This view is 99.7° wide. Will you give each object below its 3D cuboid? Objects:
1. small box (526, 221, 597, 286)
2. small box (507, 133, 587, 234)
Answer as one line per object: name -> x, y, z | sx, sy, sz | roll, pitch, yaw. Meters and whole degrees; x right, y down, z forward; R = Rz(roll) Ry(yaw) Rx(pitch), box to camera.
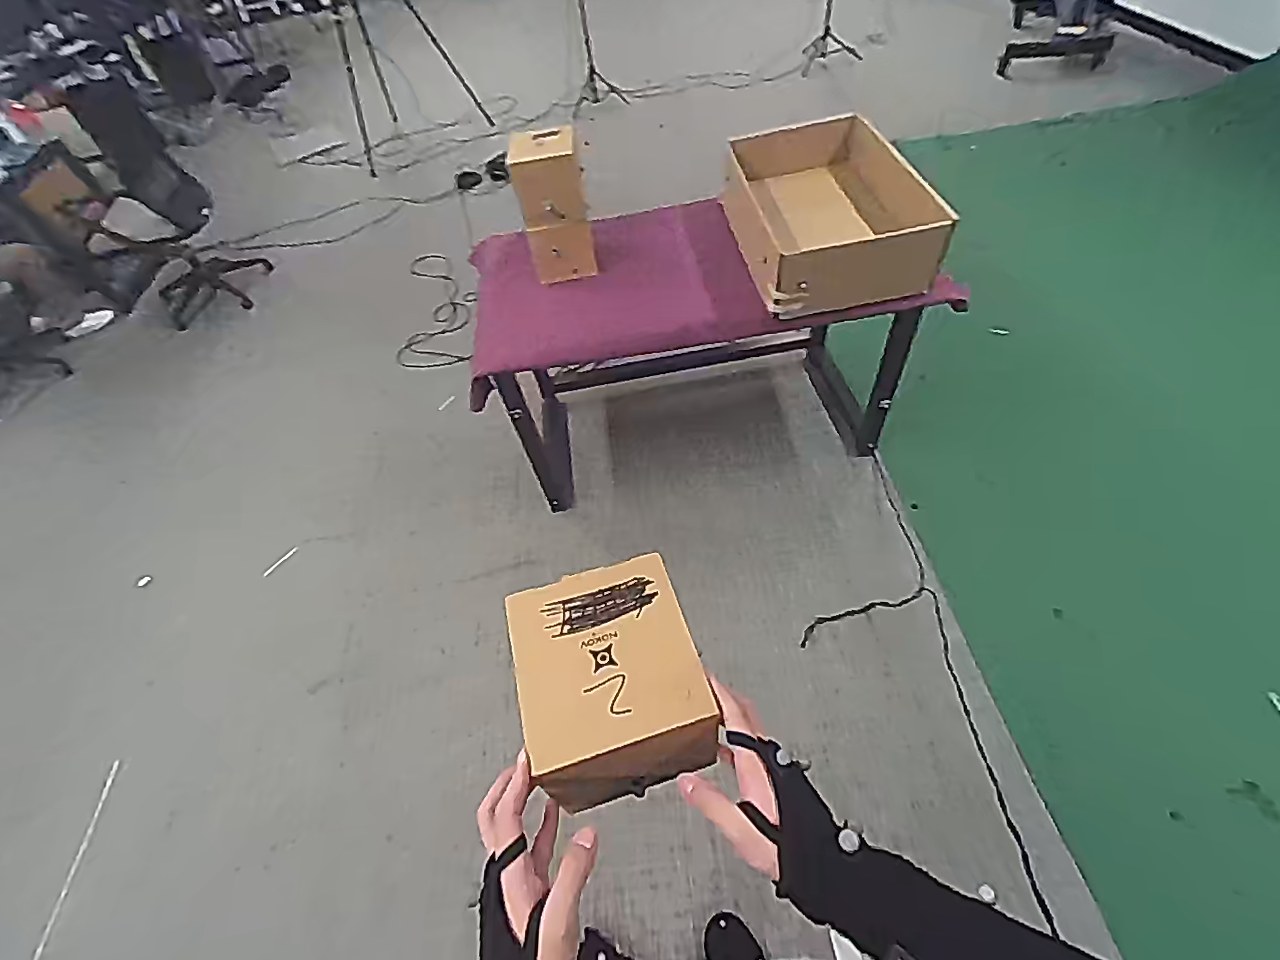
small box -> -0.224, -0.673, 1.546 | 0.168, 0.176, 0.179 | -11, 52, 0
small box -> -0.237, -0.775, 1.417 | 0.168, 0.176, 0.179 | -7, 53, 3
